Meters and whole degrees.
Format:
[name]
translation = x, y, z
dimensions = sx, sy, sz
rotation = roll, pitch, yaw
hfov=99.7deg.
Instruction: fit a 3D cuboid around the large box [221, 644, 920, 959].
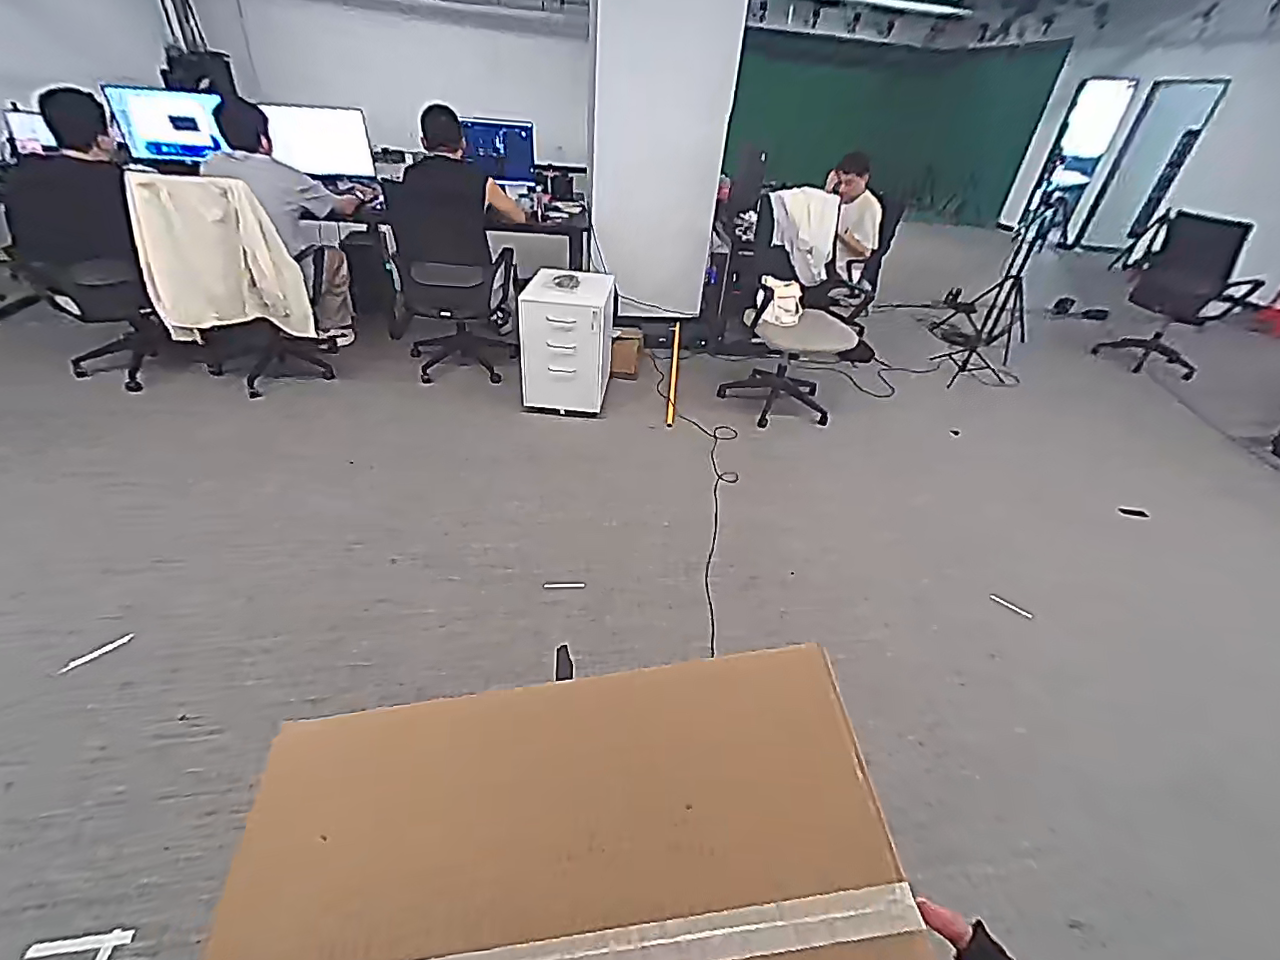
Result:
[large box]
translation = -0.032, 0.365, 0.418
dimensions = 0.408, 0.320, 0.320
rotation = -9, 47, 0
